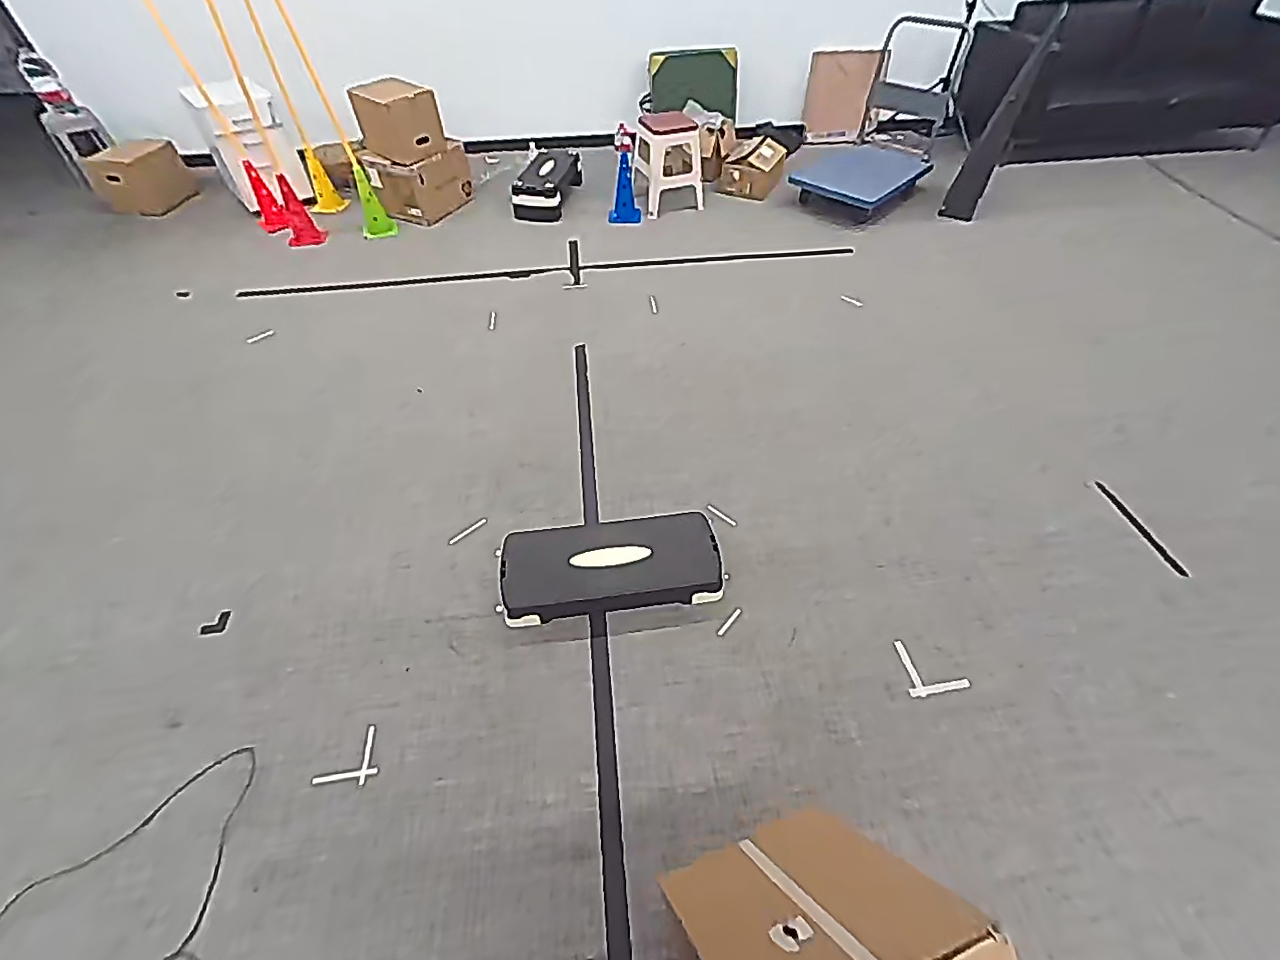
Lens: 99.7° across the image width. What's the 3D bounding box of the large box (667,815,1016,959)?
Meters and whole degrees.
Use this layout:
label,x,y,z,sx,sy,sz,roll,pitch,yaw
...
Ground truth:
label,x,y,z,sx,sy,sz,roll,pitch,yaw
large box,0.265,0.727,0.723,0.320,0.408,0.320,-13,79,-15
